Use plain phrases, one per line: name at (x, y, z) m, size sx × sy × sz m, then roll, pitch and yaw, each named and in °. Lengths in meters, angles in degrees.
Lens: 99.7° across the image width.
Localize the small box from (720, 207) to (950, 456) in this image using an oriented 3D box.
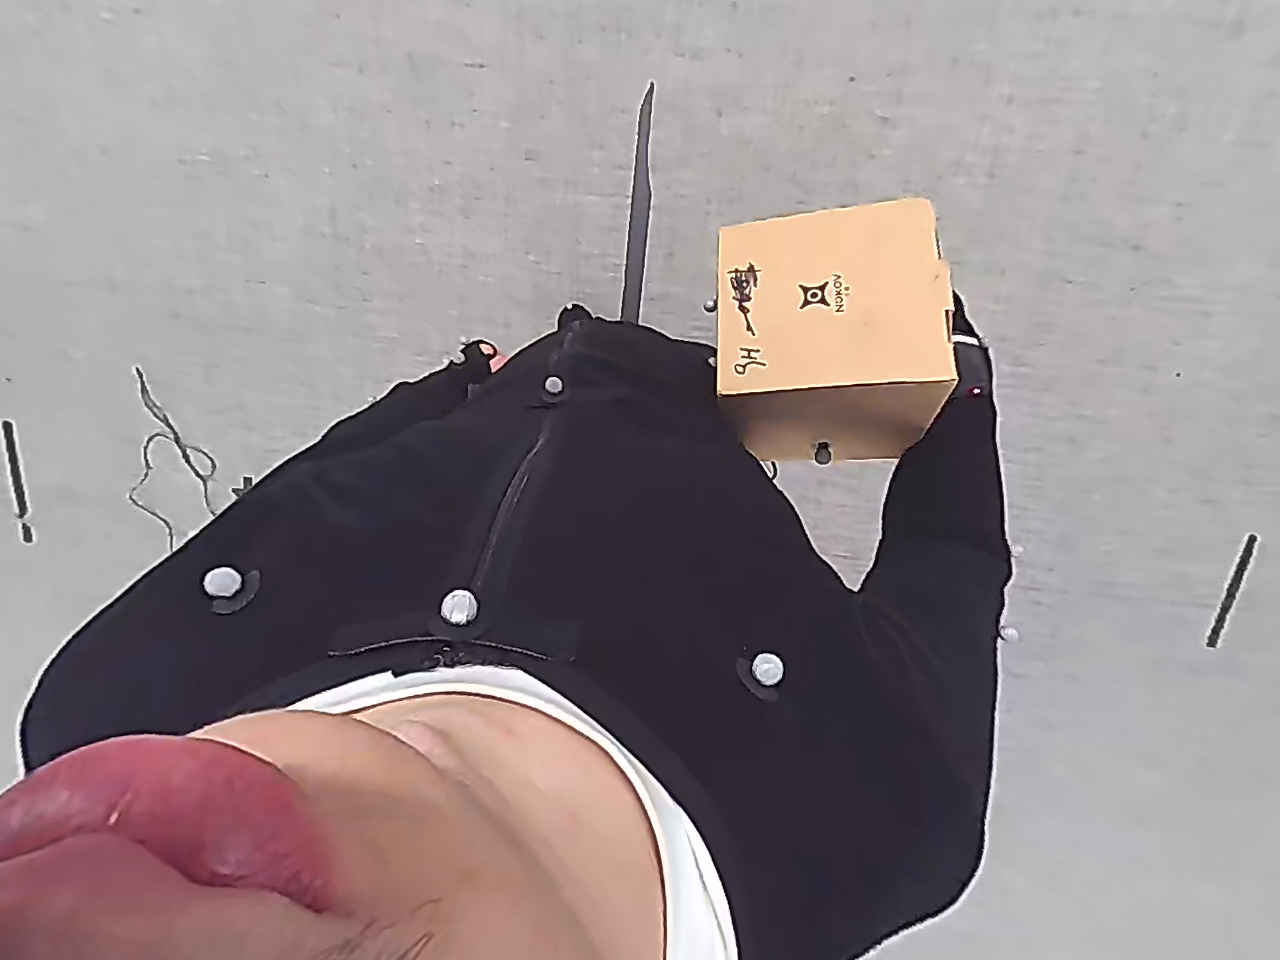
small box at (0.173, -0.127, 0.524) m, size 0.179 × 0.176 × 0.168 m, roll -1°, pitch 72°, yaw 14°
